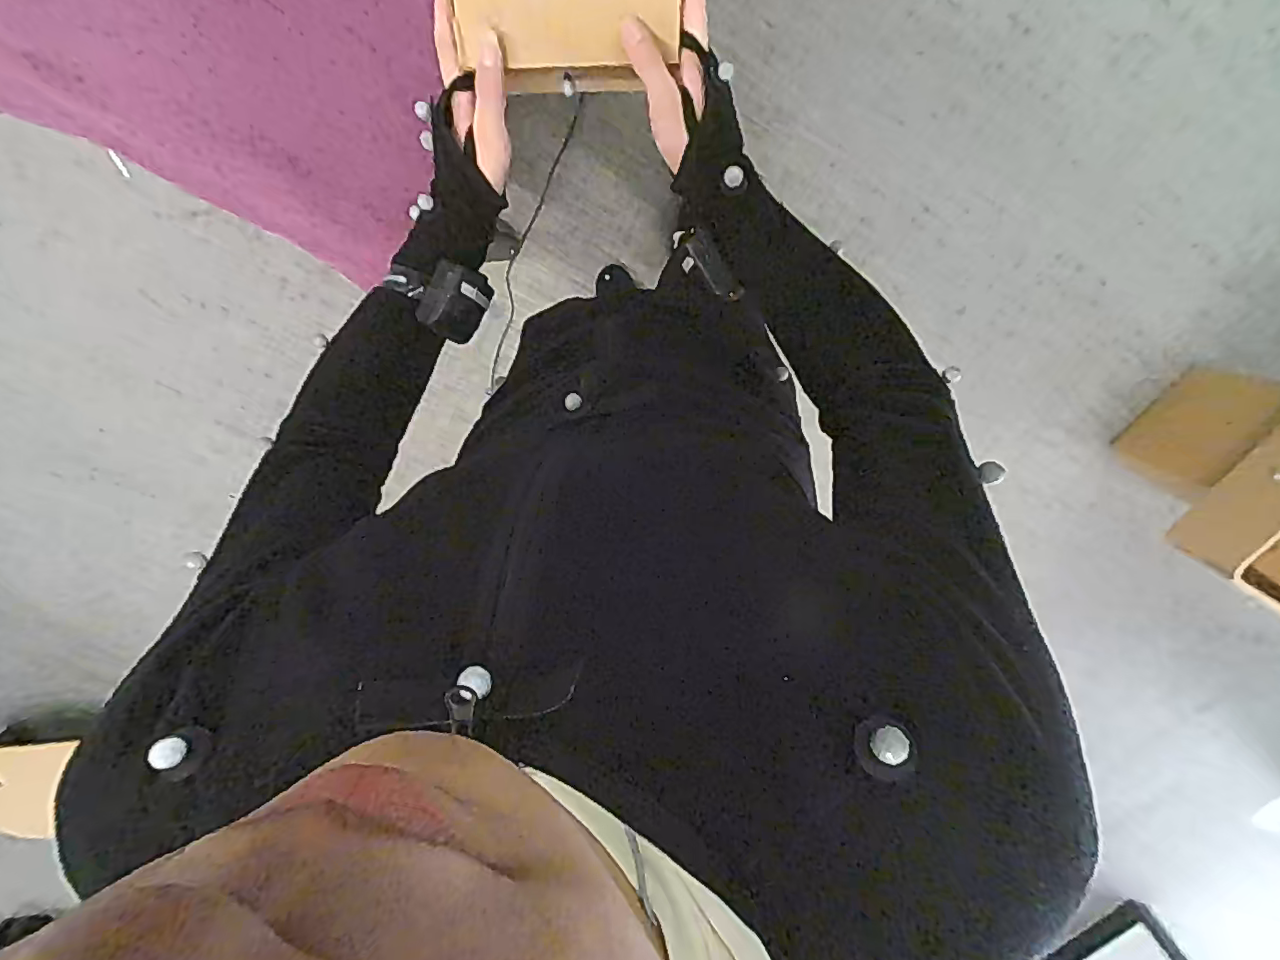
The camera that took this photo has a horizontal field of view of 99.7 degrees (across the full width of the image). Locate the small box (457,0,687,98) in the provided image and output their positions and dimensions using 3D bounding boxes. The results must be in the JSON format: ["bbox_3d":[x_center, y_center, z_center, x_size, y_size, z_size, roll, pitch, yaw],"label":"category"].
[{"bbox_3d":[-0.054,-0.432,0.457,0.179,0.176,0.168,-2,120,-3],"label":"small box"}]

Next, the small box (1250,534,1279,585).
[{"bbox_3d":[1.586,0.207,1.227,0.179,0.176,0.168,29,111,-10],"label":"small box"}]
